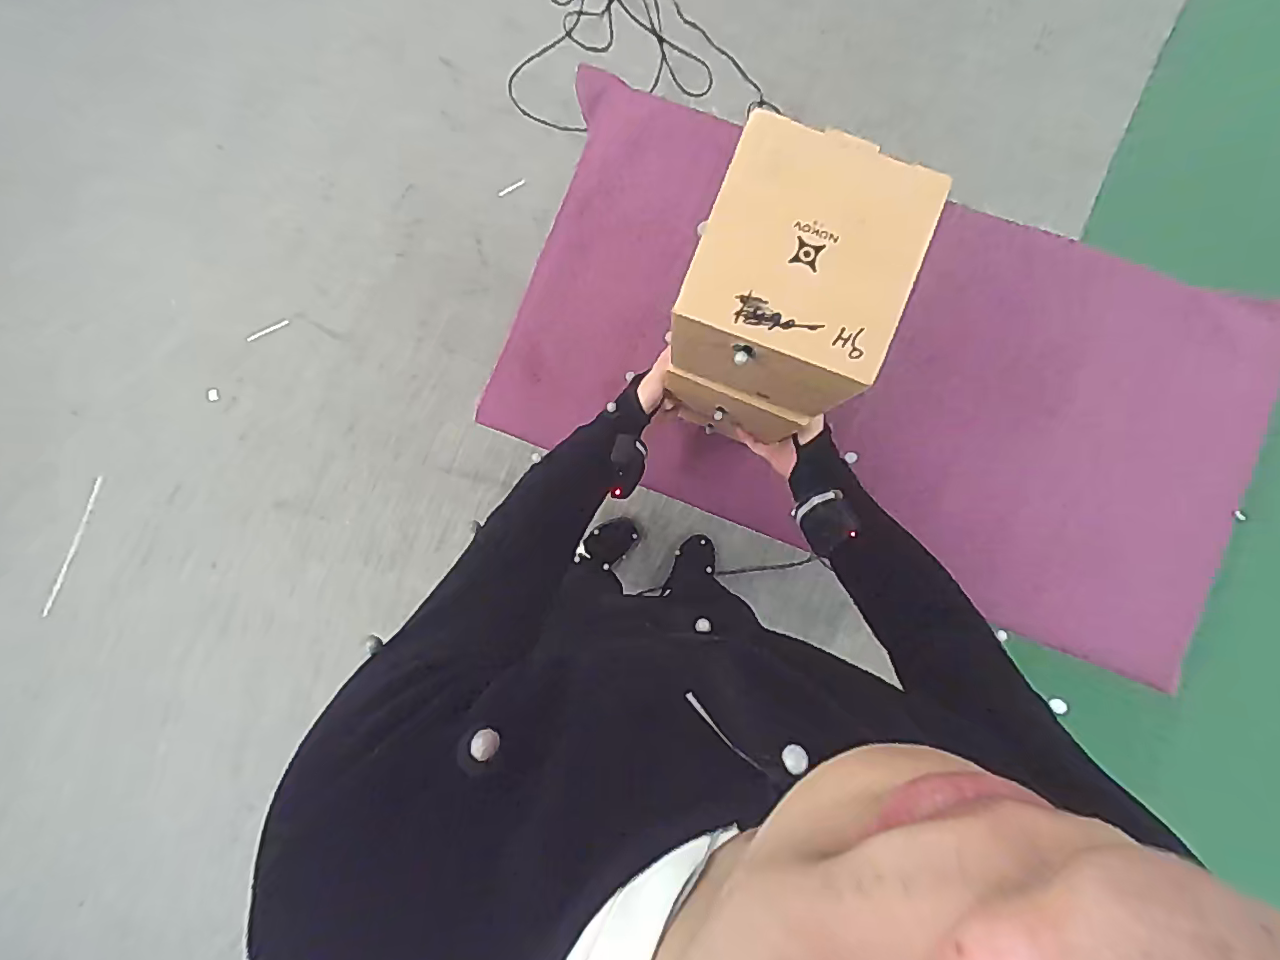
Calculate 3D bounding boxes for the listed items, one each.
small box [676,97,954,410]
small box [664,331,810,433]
[{"bbox_3d":[0.135,-0.182,0.488,0.168,0.176,0.179,22,89,4],"label":"small box"},{"bbox_3d":[0.138,-0.169,0.652,0.168,0.176,0.179,23,89,3],"label":"small box"}]
